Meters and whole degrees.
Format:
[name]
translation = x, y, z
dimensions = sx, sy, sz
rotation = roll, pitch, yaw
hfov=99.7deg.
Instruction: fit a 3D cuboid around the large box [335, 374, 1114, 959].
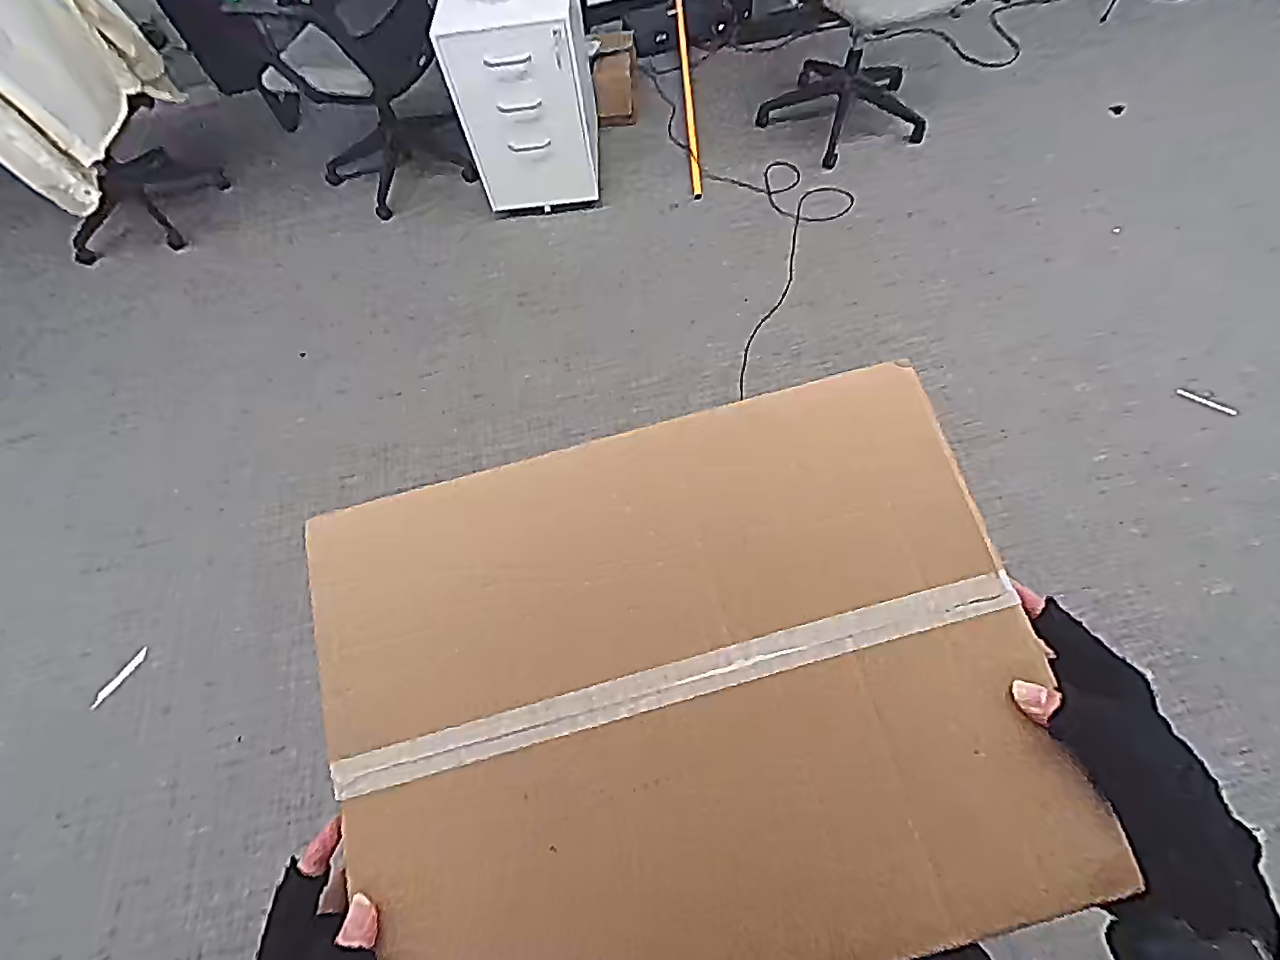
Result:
[large box]
translation = 0.033, 0.162, 0.467
dimensions = 0.408, 0.320, 0.320
rotation = -16, 76, -1
